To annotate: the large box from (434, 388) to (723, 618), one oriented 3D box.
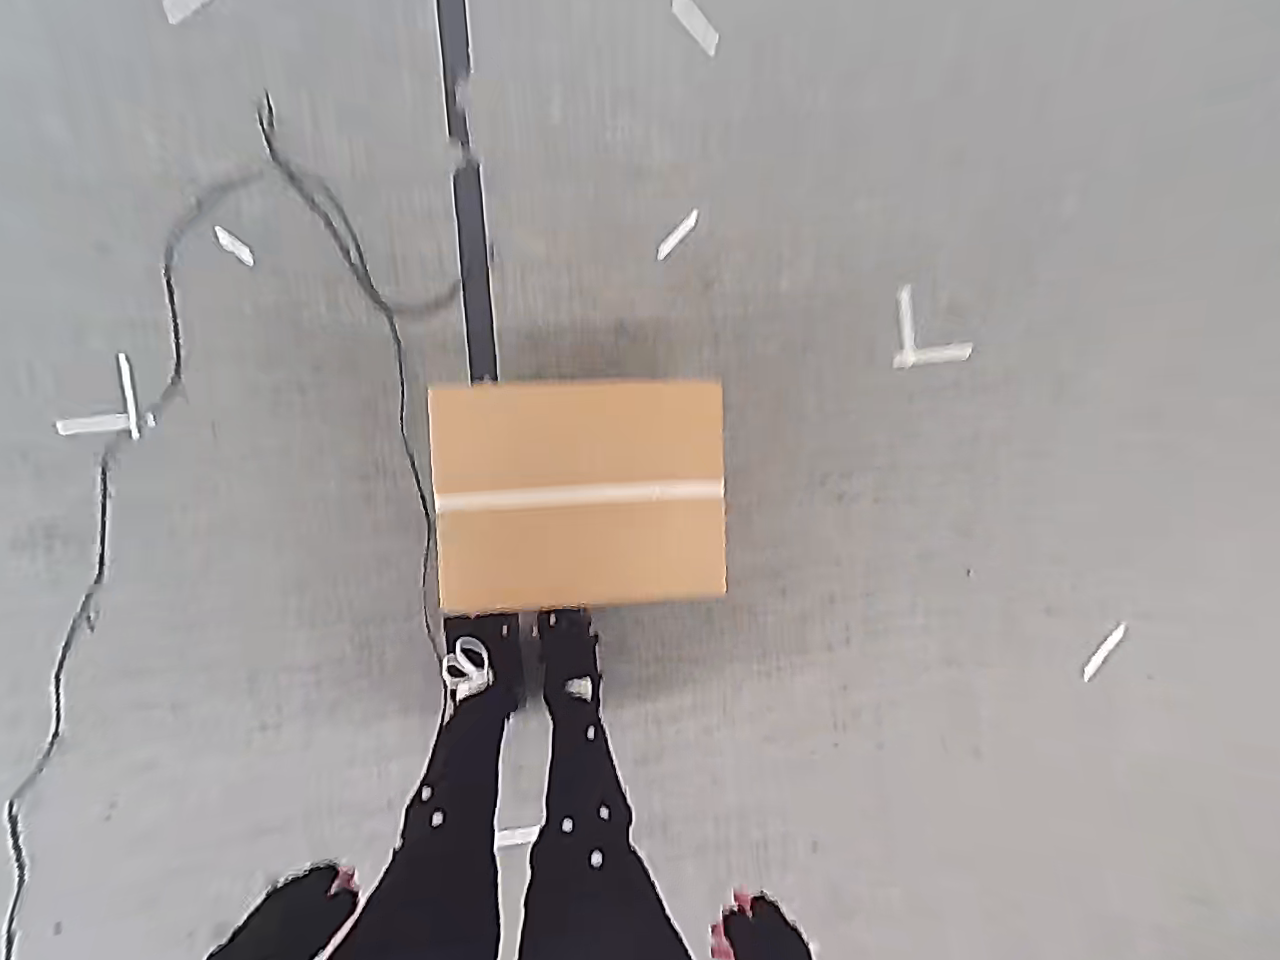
[{"bbox_3d":[-0.100,0.024,0.916,0.408,0.320,0.320,-2,94,-7],"label":"large box"}]
